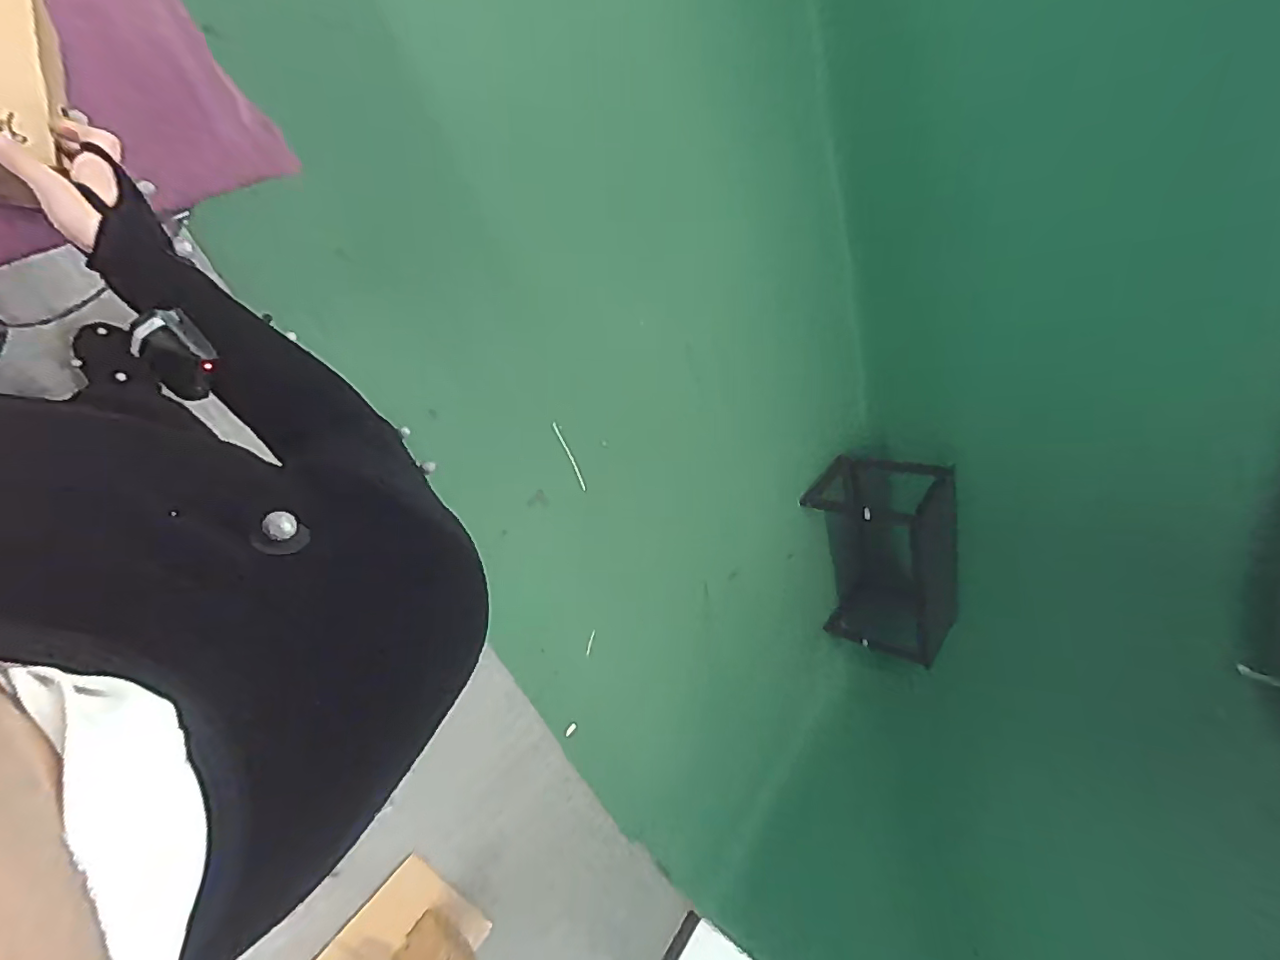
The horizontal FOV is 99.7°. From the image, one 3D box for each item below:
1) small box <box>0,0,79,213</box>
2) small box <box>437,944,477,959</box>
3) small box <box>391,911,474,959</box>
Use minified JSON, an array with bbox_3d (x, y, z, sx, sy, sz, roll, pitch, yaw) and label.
[{"bbox_3d":[-0.629,-0.362,0.476,0.168,0.176,0.179,-7,102,-40],"label":"small box"},{"bbox_3d":[-0.600,1.666,1.755,0.168,0.176,0.179,-46,128,-30],"label":"small box"},{"bbox_3d":[-0.716,1.643,1.867,0.168,0.176,0.179,-49,129,-28],"label":"small box"}]
